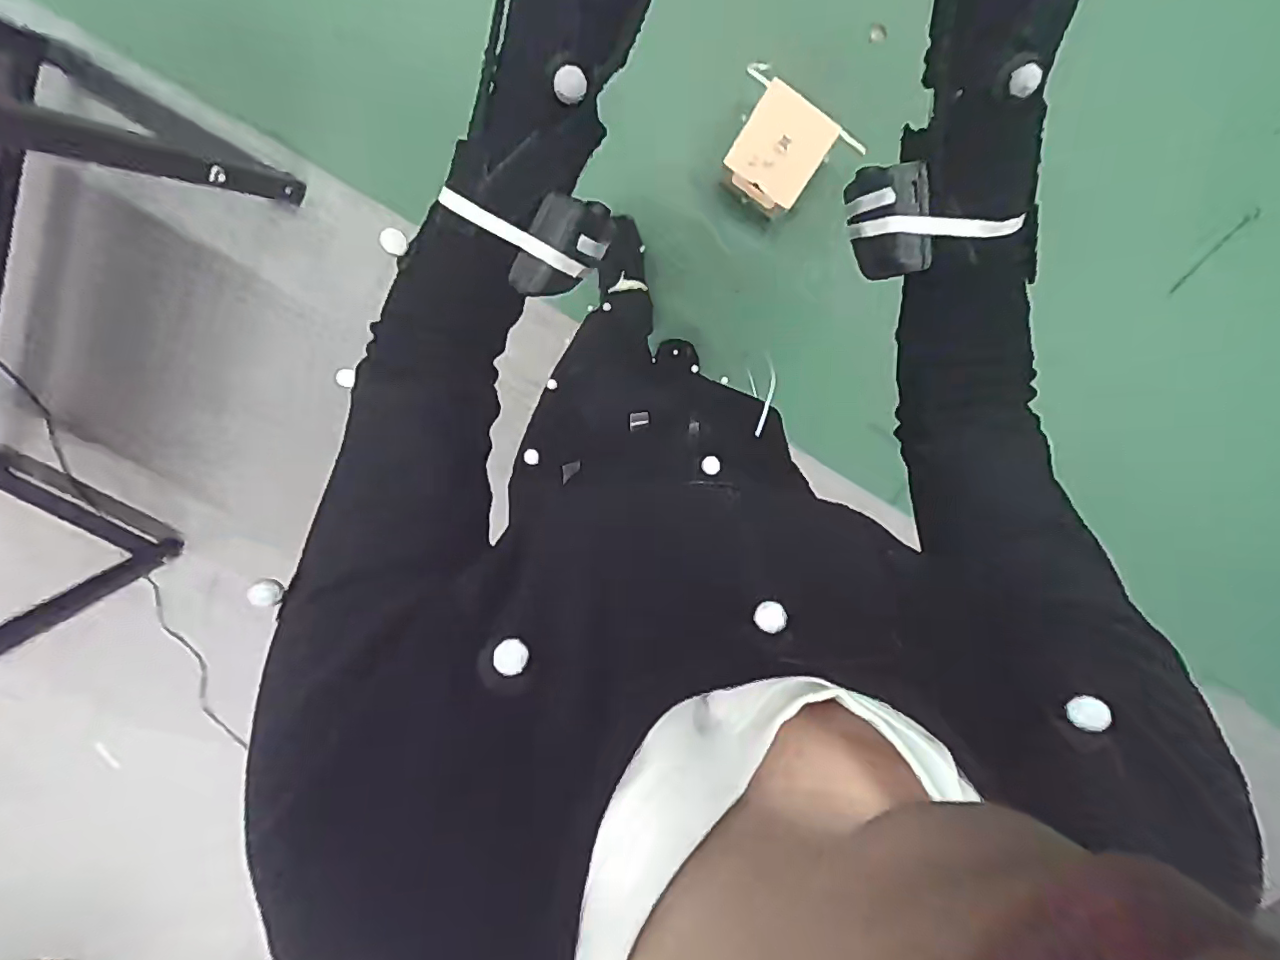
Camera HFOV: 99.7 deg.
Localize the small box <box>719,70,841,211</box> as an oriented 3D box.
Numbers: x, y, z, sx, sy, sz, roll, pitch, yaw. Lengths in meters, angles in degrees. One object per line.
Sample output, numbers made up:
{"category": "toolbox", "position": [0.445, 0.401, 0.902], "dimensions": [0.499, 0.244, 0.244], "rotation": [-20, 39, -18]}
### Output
{"category": "small box", "position": [0.282, -0.698, 1.137], "dimensions": [0.168, 0.176, 0.179], "rotation": [32, 109, -9]}
